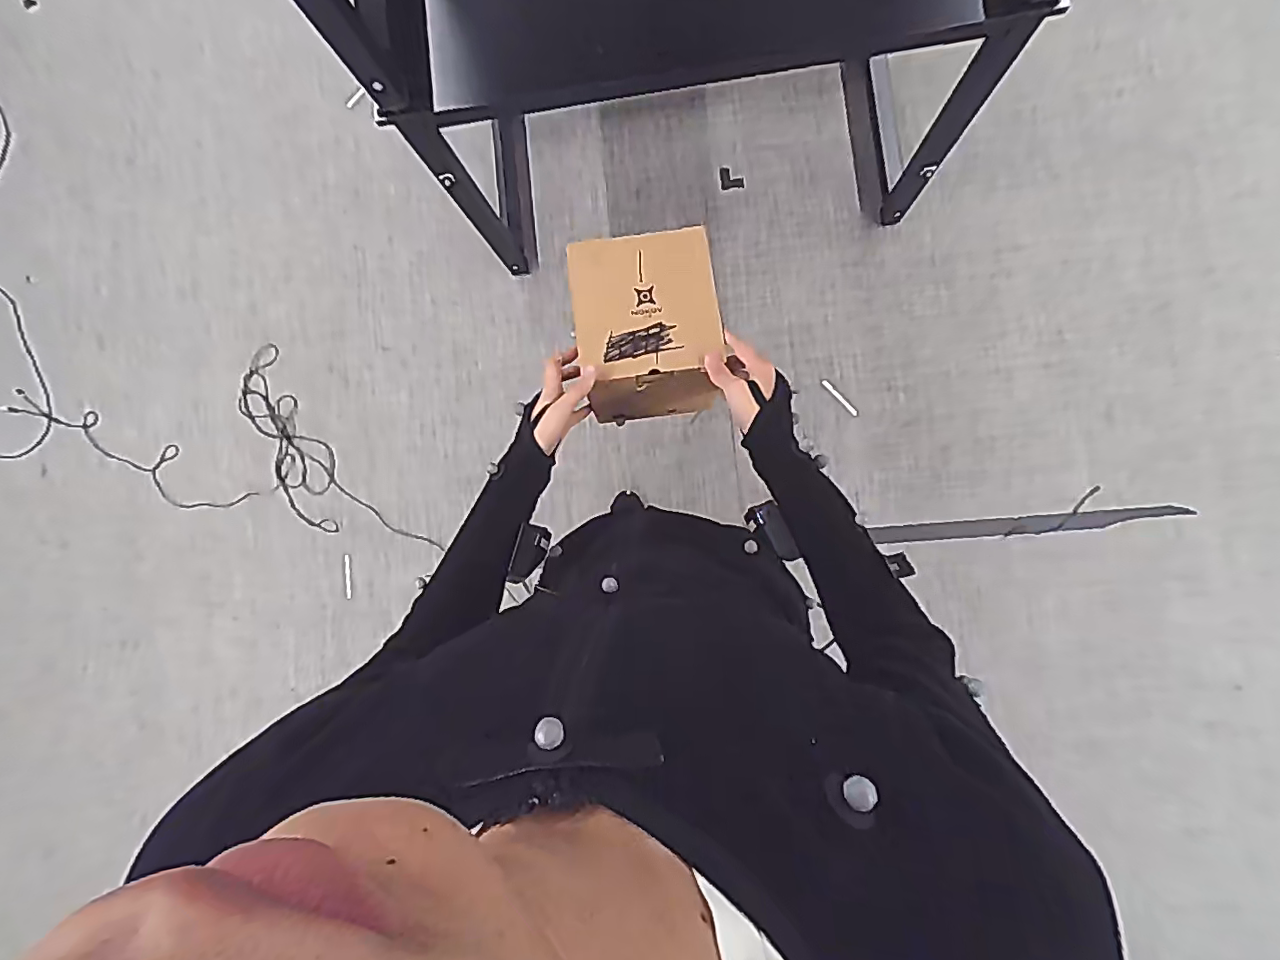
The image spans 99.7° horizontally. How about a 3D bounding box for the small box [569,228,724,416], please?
[{"bbox_3d":[0.009,-0.189,0.698,0.168,0.176,0.179,-7,80,0],"label":"small box"}]
